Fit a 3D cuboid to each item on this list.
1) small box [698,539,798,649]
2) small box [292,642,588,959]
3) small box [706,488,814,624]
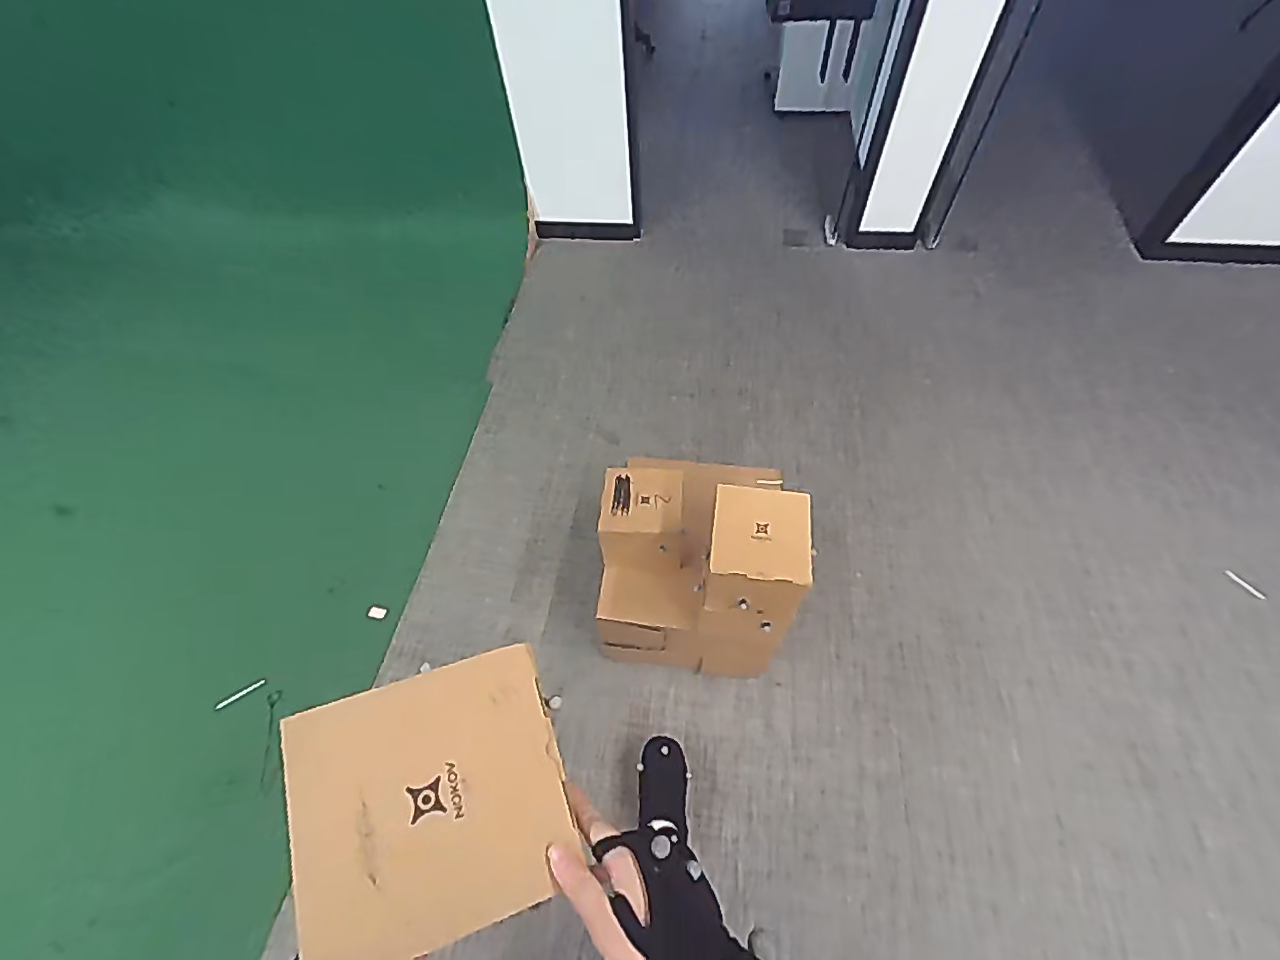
[{"bbox_3d":[0.219,0.236,1.110,0.179,0.176,0.168,6,55,7],"label":"small box"},{"bbox_3d":[-0.152,0.251,0.443,0.179,0.176,0.168,-14,65,-16],"label":"small box"},{"bbox_3d":[0.212,0.140,0.978,0.168,0.176,0.179,7,57,7],"label":"small box"}]
